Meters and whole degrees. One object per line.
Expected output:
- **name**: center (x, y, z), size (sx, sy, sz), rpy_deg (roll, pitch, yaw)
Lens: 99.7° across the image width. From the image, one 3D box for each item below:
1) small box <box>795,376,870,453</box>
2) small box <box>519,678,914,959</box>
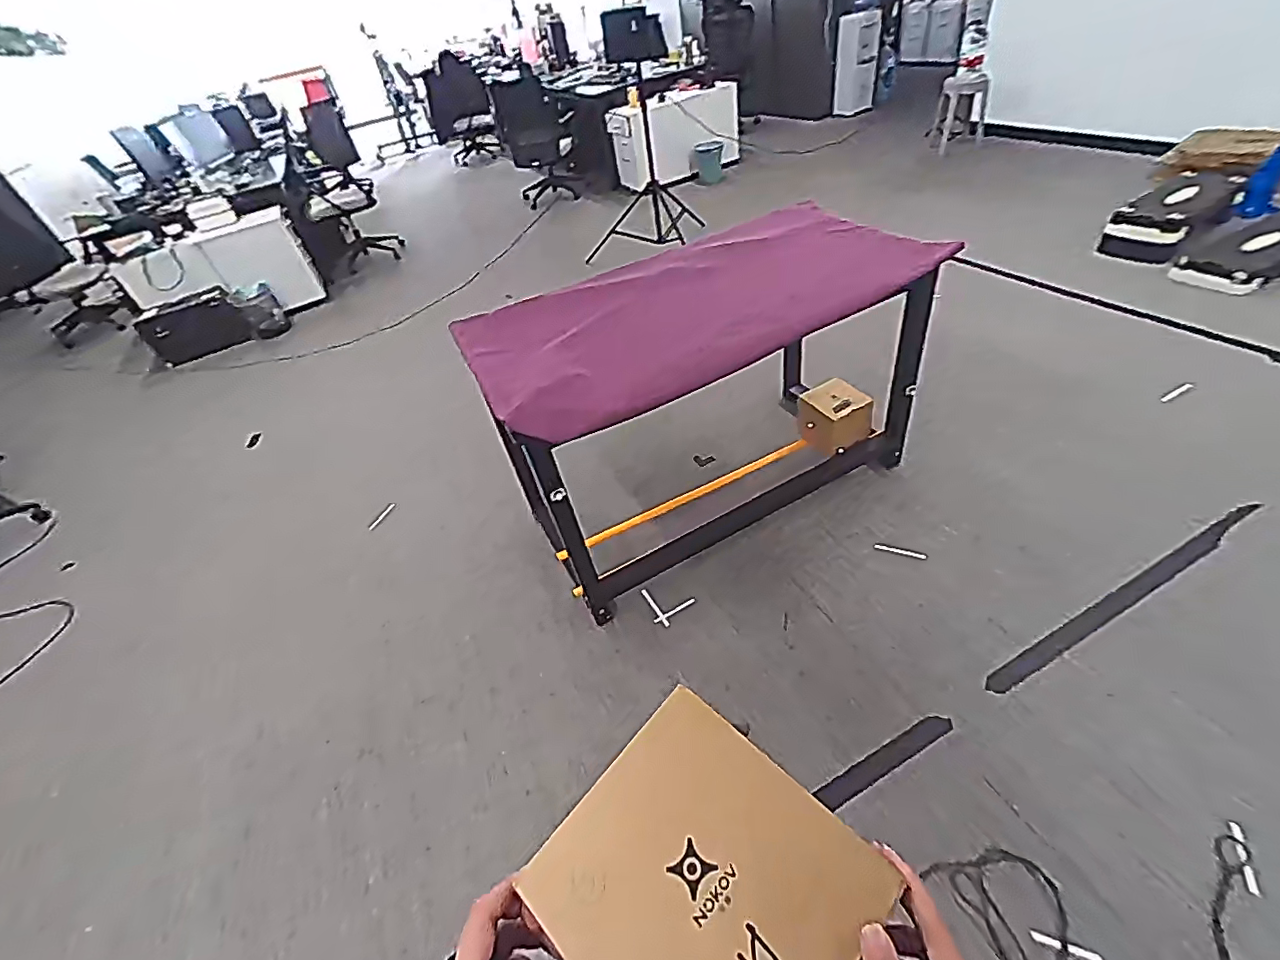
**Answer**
- **small box**: center (0.638, -0.213, 1.805), size (0.168, 0.176, 0.179), rpy_deg (-26, 44, -13)
- **small box**: center (0.051, 0.282, 0.380), size (0.179, 0.176, 0.168), rpy_deg (34, 66, 31)
